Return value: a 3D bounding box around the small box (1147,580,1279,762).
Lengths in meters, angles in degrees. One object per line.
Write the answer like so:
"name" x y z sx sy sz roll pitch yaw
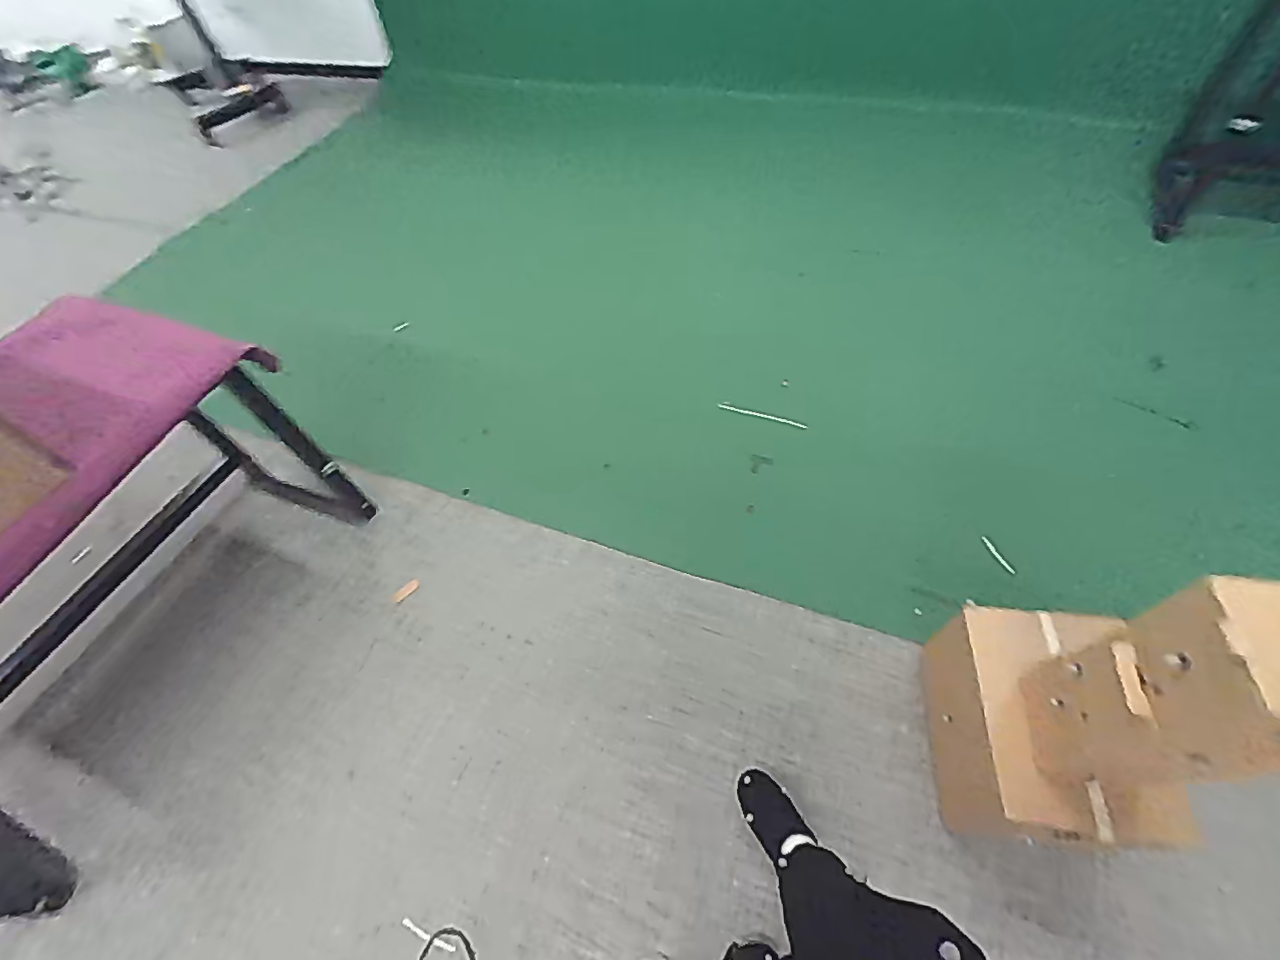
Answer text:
"small box" 0.780 0.241 0.664 0.179 0.176 0.168 6 57 13

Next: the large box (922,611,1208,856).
"large box" 0.837 0.538 1.151 0.320 0.320 0.408 4 55 9

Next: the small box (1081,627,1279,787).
"small box" 0.794 0.338 0.796 0.179 0.176 0.168 7 57 13

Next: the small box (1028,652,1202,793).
"small box" 0.809 0.422 0.936 0.168 0.176 0.179 6 57 12
